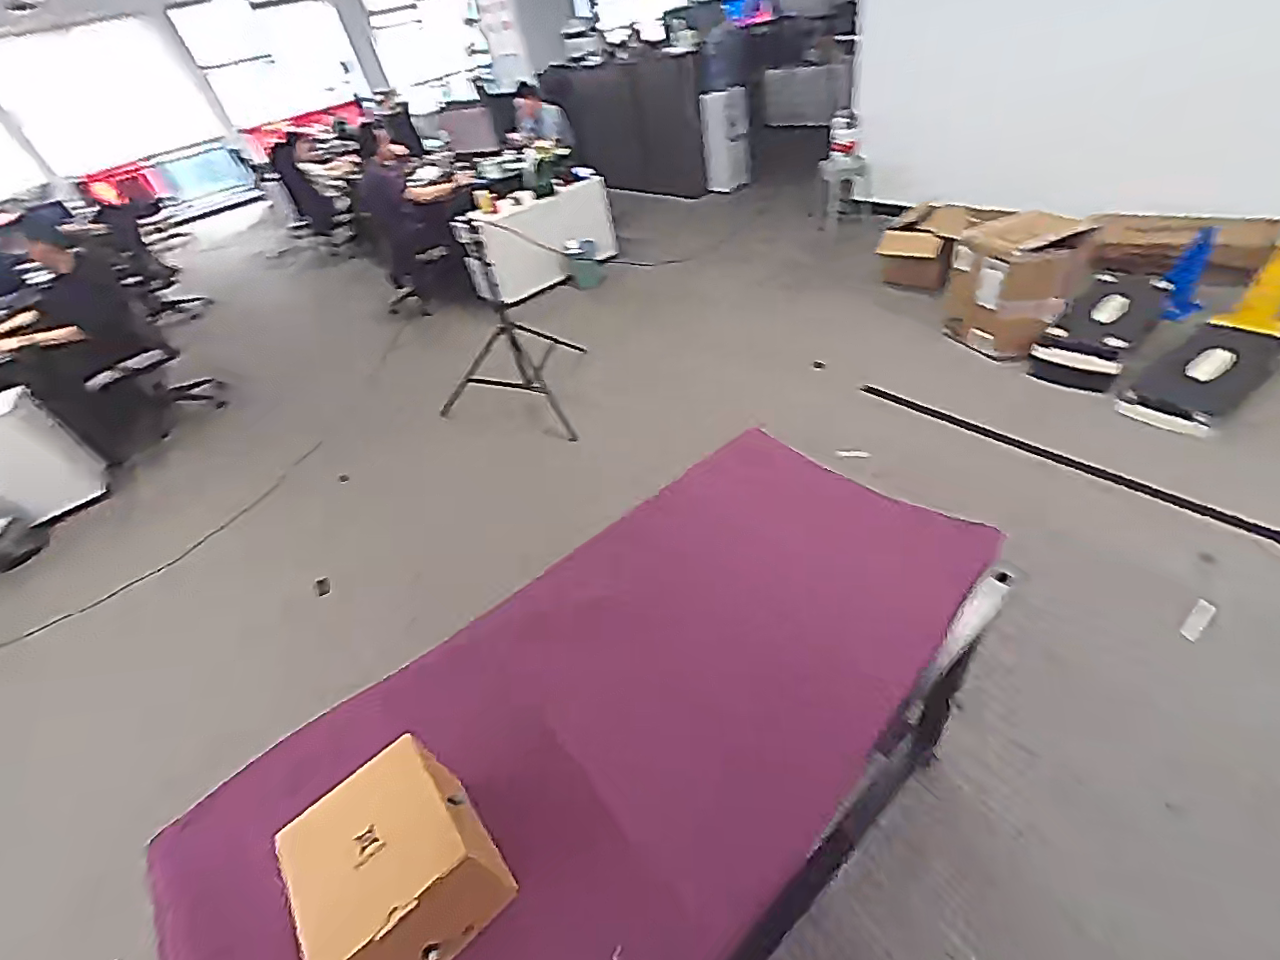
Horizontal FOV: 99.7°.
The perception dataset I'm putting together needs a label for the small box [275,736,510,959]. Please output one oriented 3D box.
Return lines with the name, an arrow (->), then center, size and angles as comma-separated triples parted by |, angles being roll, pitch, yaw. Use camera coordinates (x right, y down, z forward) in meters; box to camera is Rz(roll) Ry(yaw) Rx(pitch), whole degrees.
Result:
small box -> -0.282, 0.454, 0.637 | 0.168, 0.176, 0.179 | -36, 46, -24
